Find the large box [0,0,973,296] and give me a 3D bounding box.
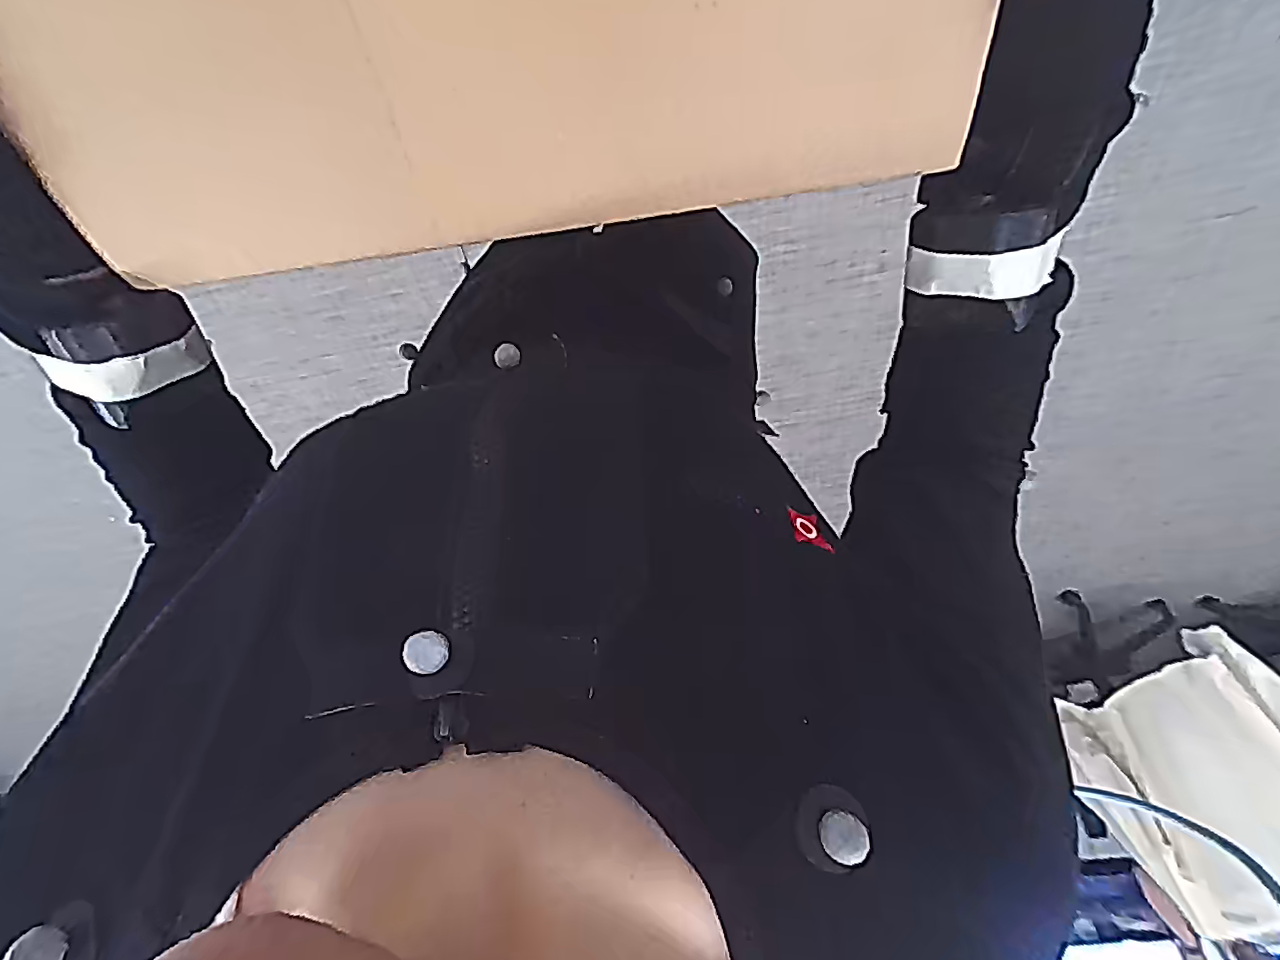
[{"bbox_3d":[-0.076,-0.336,0.278,0.408,0.320,0.320,-6,133,5],"label":"large box"}]
